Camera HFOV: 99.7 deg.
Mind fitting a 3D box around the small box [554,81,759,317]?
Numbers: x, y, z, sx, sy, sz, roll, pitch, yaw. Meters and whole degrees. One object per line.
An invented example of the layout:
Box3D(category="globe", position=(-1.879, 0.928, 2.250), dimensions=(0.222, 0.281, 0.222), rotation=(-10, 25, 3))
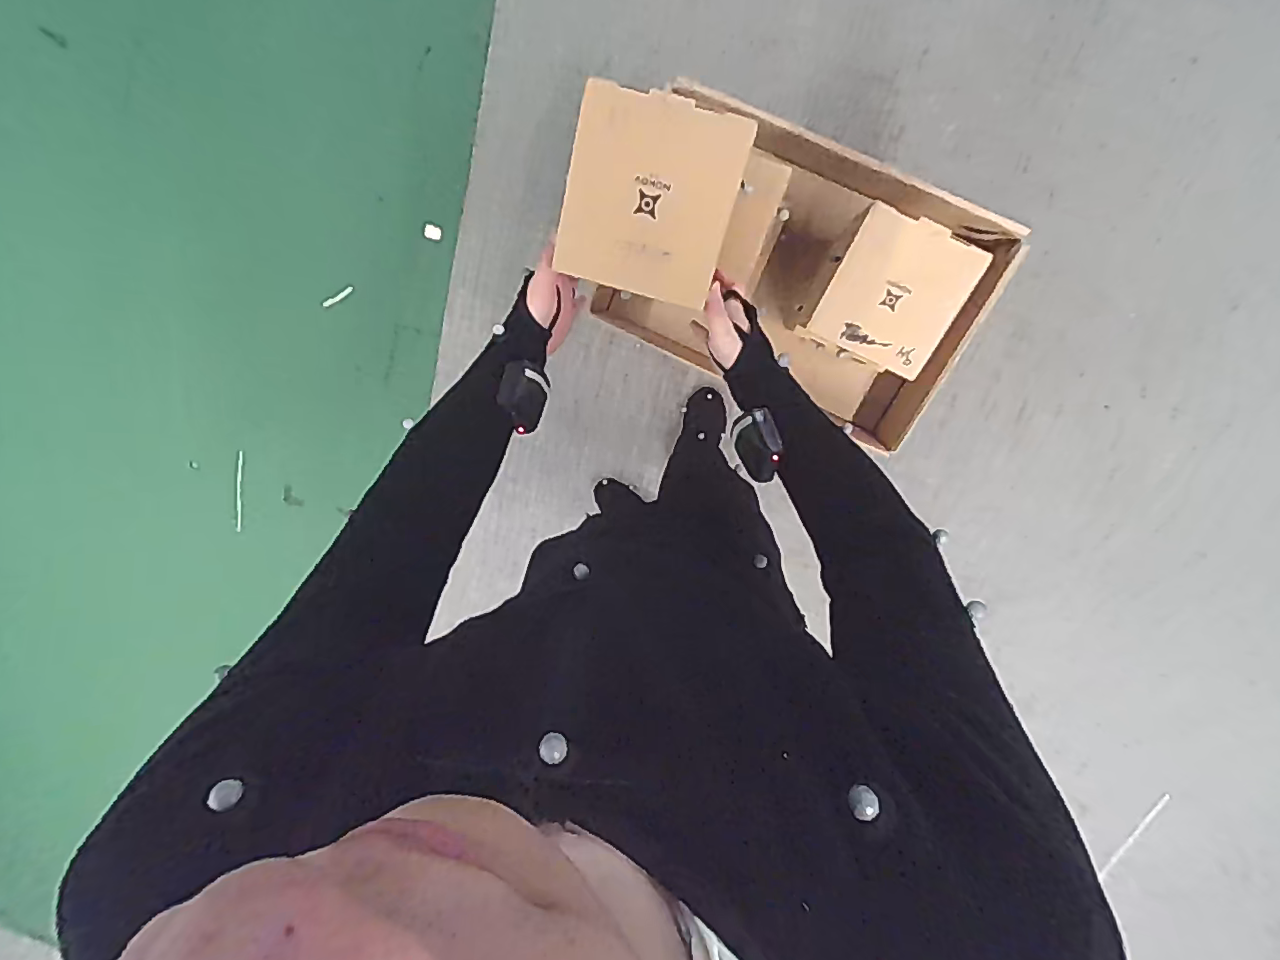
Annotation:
Box3D(category="small box", position=(0.017, -0.295, 0.600), dimensions=(0.168, 0.176, 0.179), rotation=(16, 112, 0))

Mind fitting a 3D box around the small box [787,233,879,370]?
Box3D(category="small box", position=(0.370, -0.317, 0.943), dimensions=(0.168, 0.176, 0.179), rotation=(25, 113, 0))

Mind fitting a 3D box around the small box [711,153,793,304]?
Box3D(category="small box", position=(0.102, -0.372, 0.789), dimensions=(0.168, 0.176, 0.179), rotation=(22, 111, 2))

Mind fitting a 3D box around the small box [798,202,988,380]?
Box3D(category="small box", position=(0.346, -0.270, 0.787), dimensions=(0.168, 0.176, 0.179), rotation=(26, 112, 0))
